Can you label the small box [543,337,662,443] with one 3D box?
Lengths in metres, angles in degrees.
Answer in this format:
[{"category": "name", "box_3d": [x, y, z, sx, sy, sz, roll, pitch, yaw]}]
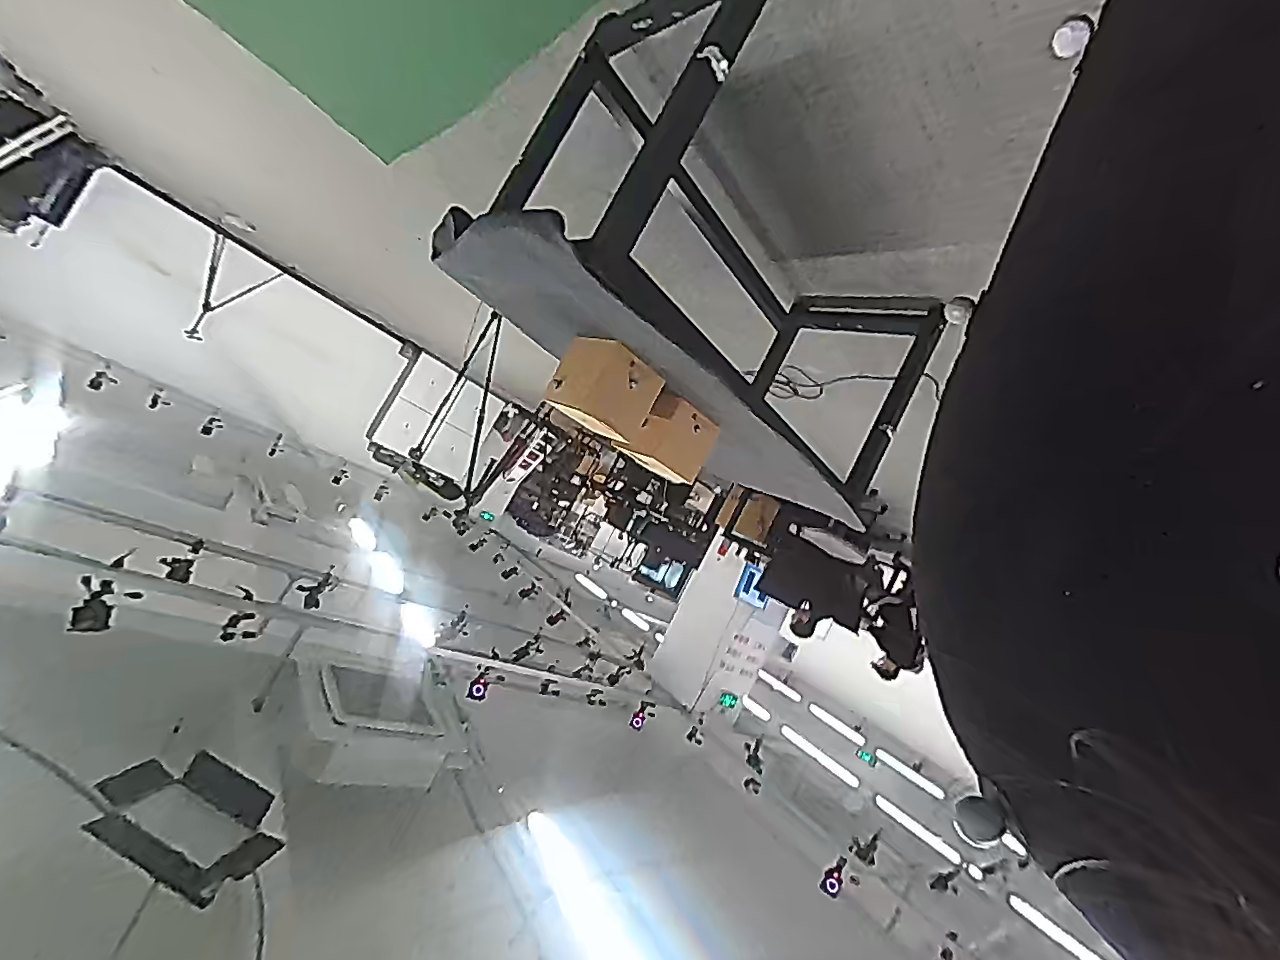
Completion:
[{"category": "small box", "box_3d": [-0.082, -0.208, 1.225, 0.168, 0.176, 0.179, 31, 174, -41]}]
